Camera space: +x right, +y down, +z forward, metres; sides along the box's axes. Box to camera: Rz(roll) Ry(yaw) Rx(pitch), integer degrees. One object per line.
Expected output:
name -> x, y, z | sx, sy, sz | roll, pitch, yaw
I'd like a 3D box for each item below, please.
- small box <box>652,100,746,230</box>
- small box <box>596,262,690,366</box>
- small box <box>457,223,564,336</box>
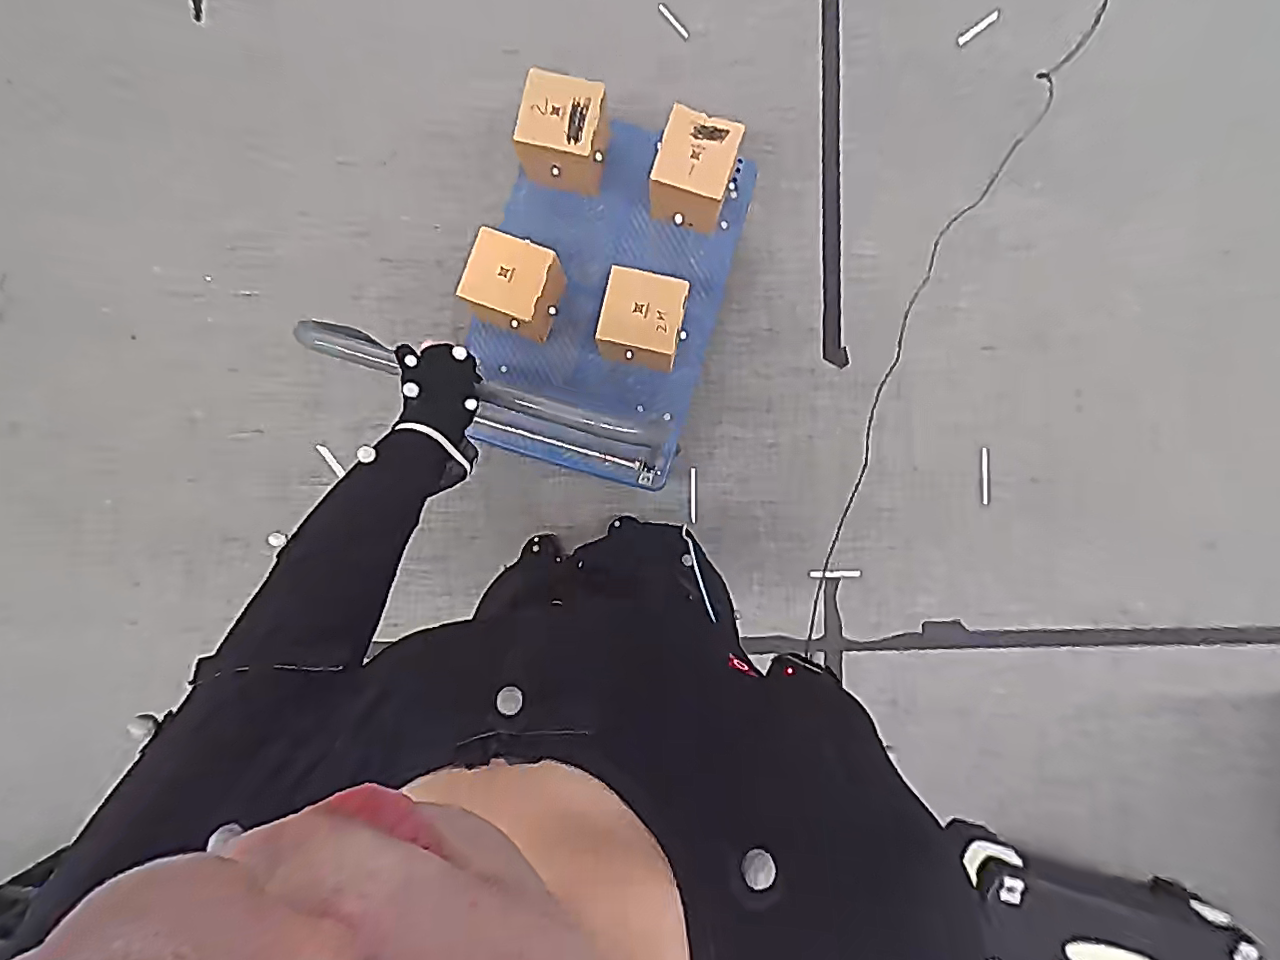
small box -> 0.128, -0.719, 1.250 | 0.168, 0.176, 0.179 | 18, 90, 2
small box -> 0.008, -0.372, 1.245 | 0.179, 0.176, 0.168 | 13, 89, 2
small box -> -0.290, -0.454, 1.253 | 0.179, 0.176, 0.168 | 20, 89, 0
